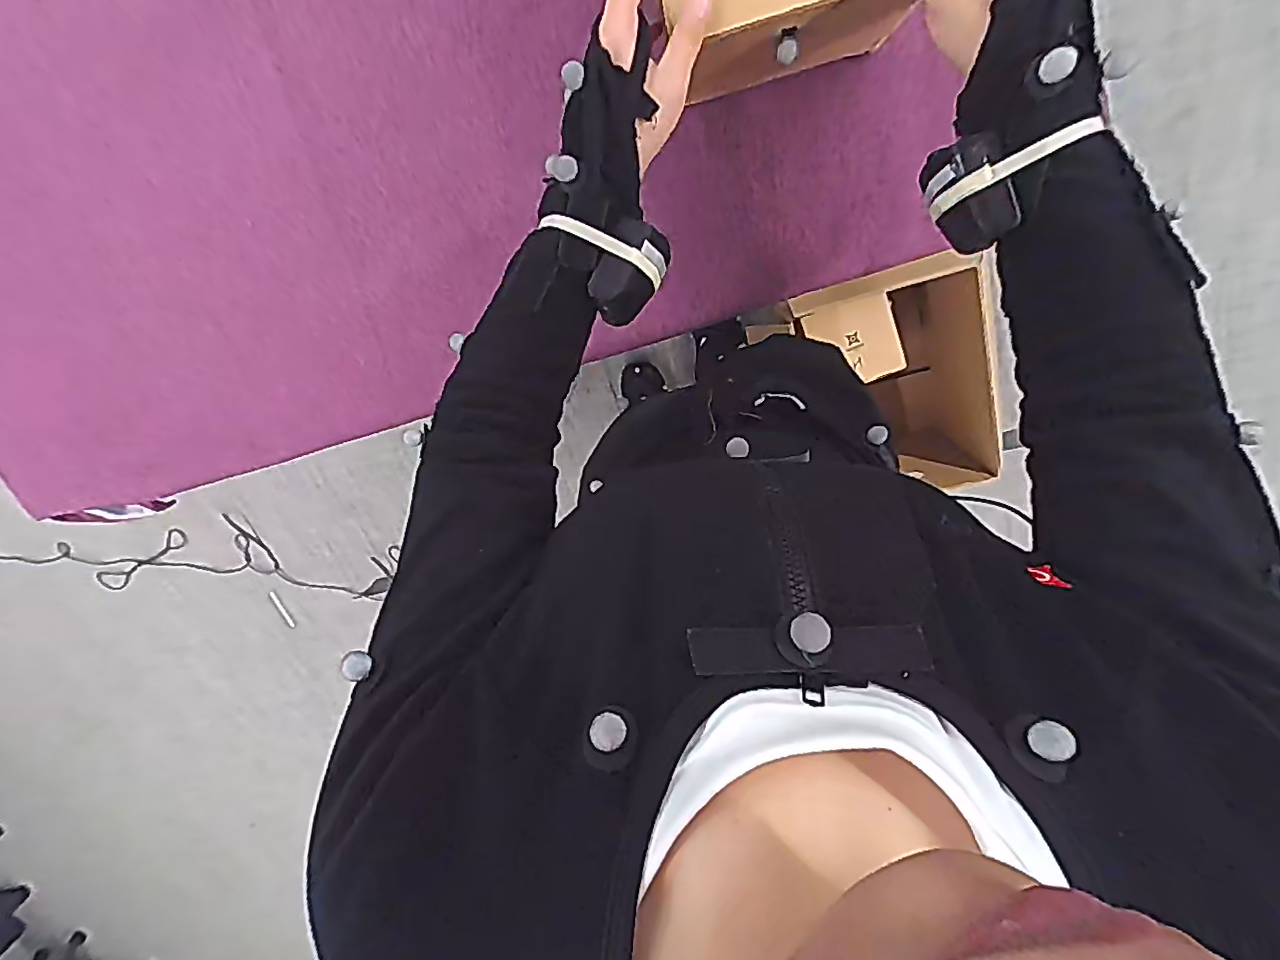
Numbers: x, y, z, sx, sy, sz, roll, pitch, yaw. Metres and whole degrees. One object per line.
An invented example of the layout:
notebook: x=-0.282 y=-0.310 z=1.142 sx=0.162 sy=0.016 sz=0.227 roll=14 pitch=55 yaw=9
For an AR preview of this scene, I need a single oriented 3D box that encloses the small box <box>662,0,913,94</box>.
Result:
small box: x=0.095 y=-0.395 z=0.367 sx=0.179 sy=0.176 sz=0.168 roll=-9 pitch=113 yaw=12
